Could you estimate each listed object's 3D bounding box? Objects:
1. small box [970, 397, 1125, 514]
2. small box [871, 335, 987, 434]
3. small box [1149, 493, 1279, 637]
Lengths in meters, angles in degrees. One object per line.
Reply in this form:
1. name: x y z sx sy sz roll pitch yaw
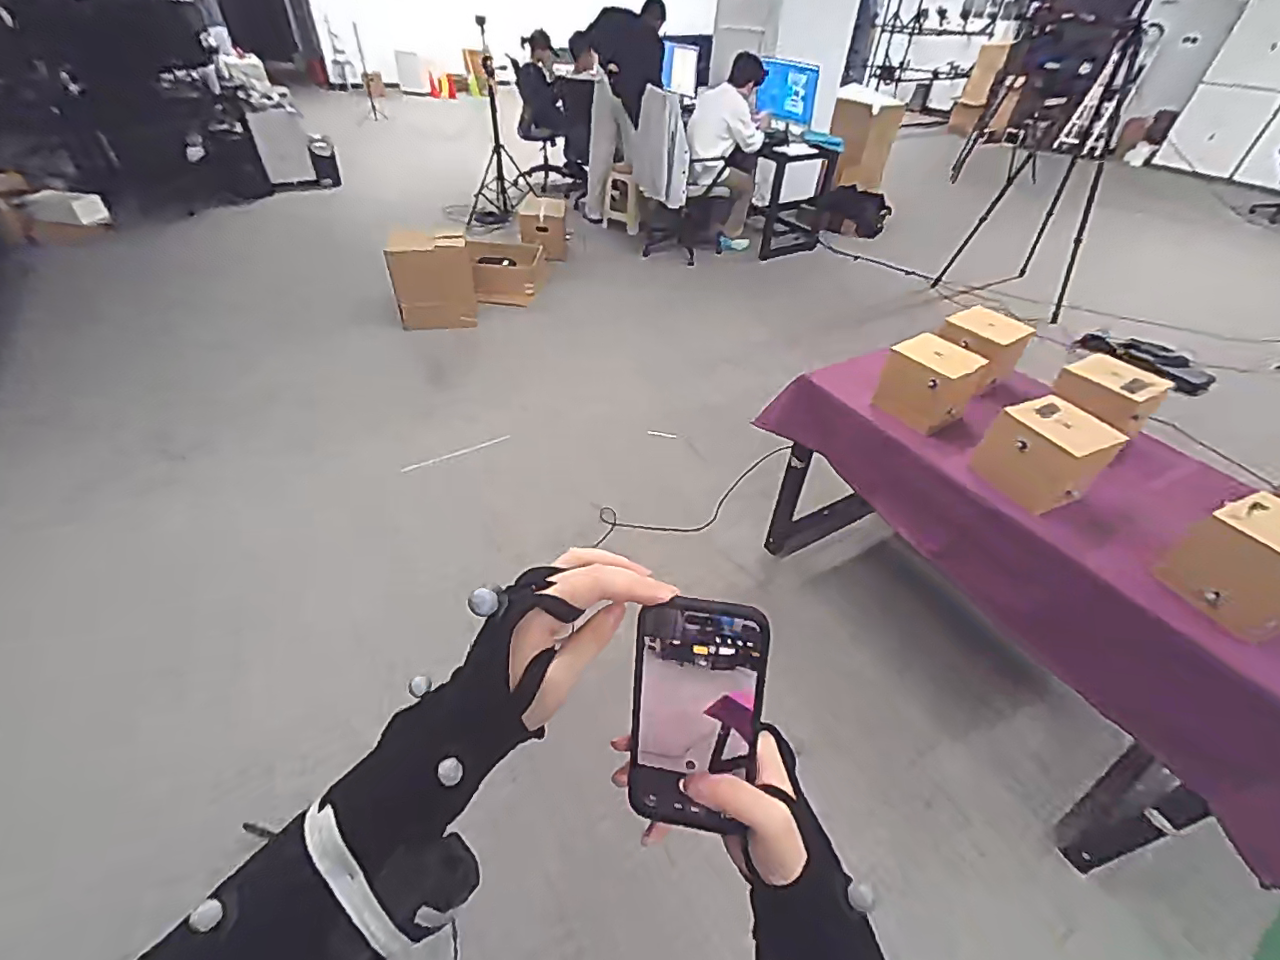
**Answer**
1. small box: 0.873 -0.054 1.179 0.168 0.176 0.179 -15 46 -20
2. small box: 0.727 -0.244 1.381 0.168 0.176 0.179 -24 50 -28
3. small box: 1.089 0.155 0.961 0.168 0.176 0.179 -14 45 -19
